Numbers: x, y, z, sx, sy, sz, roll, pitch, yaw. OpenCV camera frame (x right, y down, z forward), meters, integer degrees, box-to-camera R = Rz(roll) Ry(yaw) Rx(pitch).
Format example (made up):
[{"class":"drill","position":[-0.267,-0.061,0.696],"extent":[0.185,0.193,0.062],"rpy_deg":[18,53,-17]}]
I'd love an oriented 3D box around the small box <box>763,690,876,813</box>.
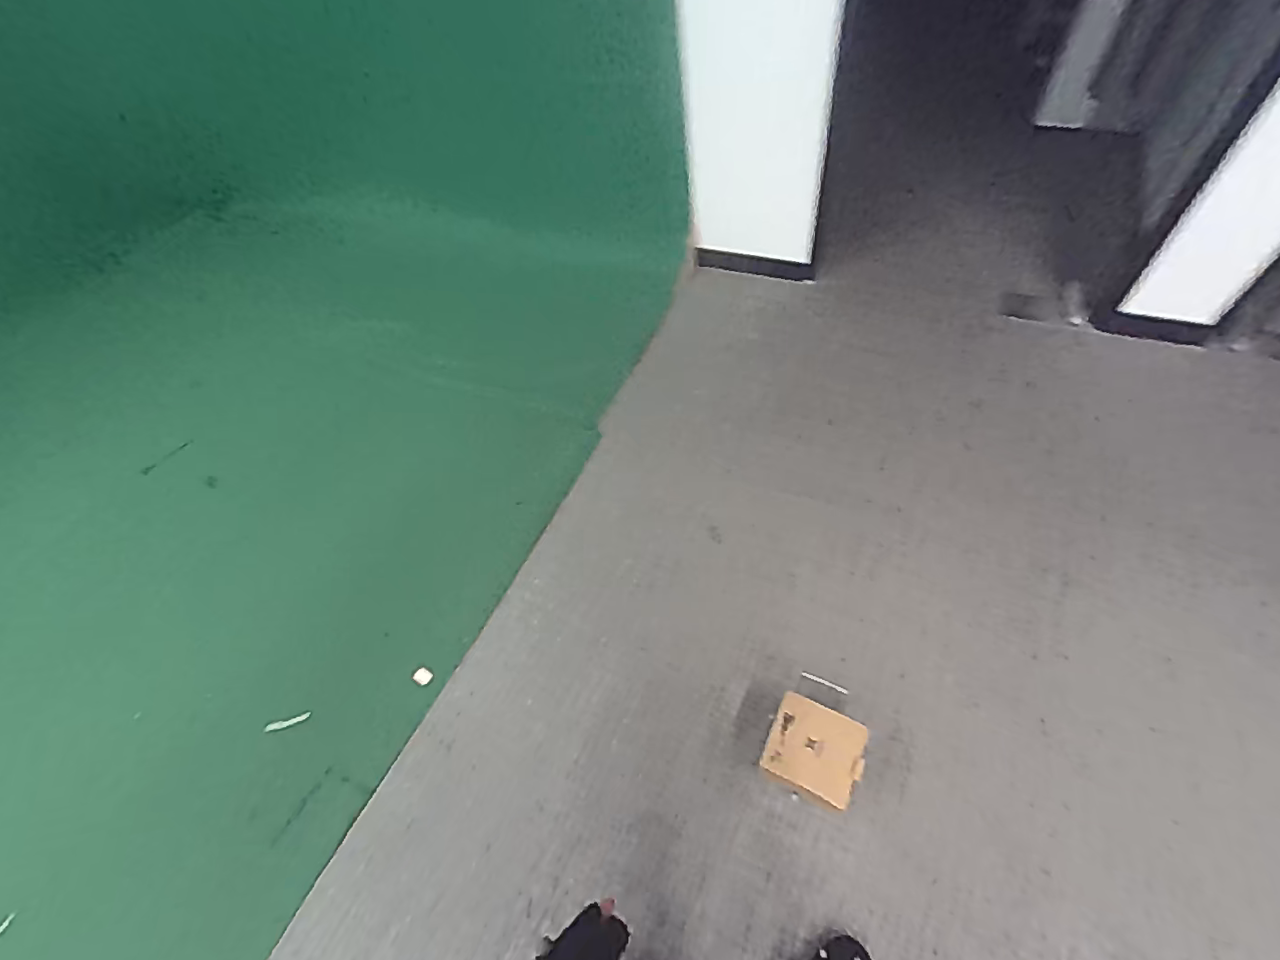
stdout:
[{"class":"small box","position":[0.377,0.581,1.154],"extent":[0.179,0.176,0.168],"rpy_deg":[22,63,23]}]
